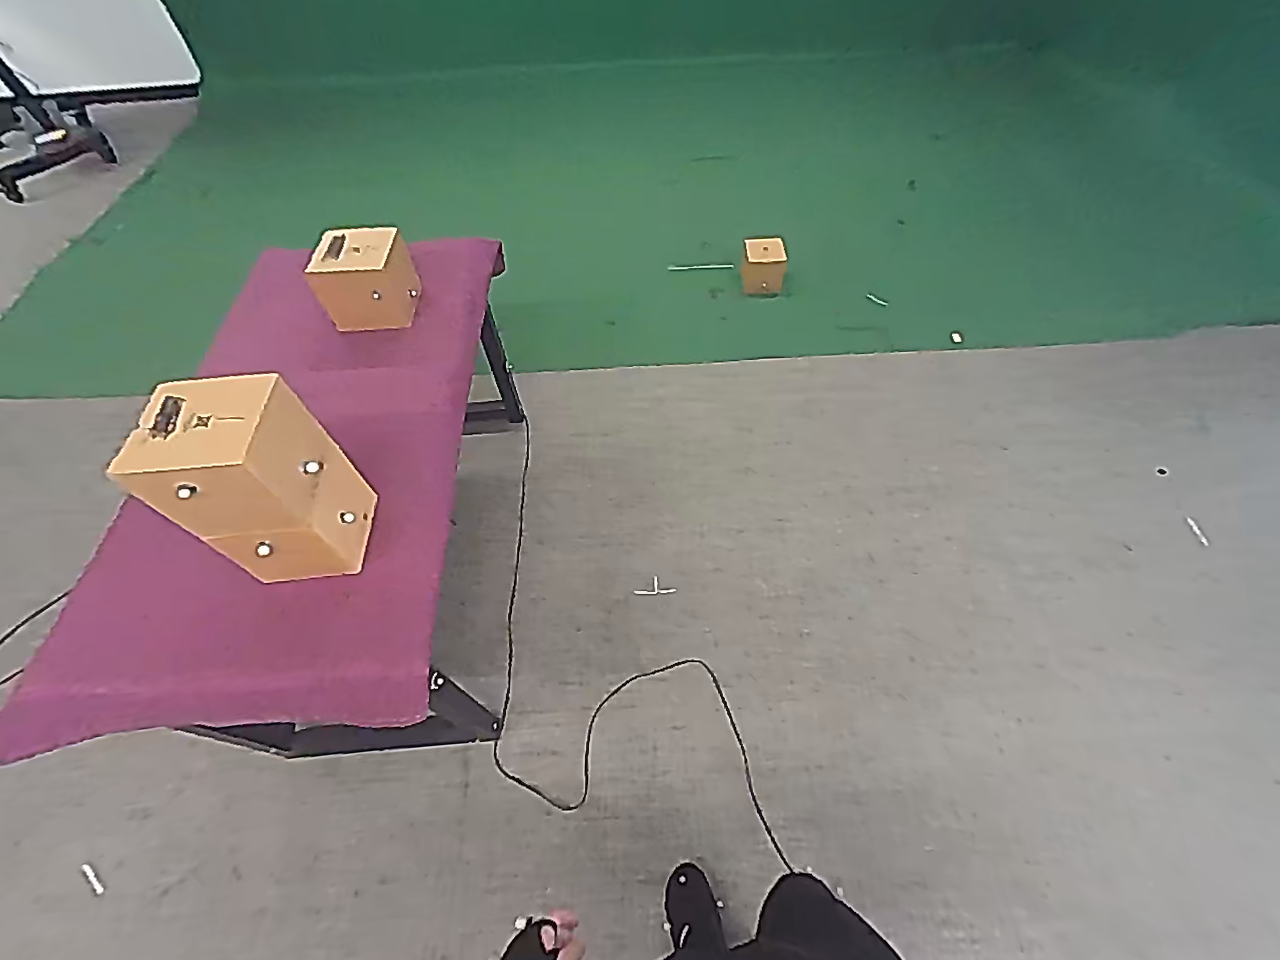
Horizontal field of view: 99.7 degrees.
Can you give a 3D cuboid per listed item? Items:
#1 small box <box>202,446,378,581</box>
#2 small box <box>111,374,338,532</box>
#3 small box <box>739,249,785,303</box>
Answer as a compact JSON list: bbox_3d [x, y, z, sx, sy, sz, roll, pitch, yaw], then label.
[{"bbox_3d":[-0.581,0.061,0.929,0.179,0.176,0.168,-5,55,-1],"label":"small box"},{"bbox_3d":[-0.588,-0.034,0.796,0.179,0.176,0.168,-4,55,-1],"label":"small box"},{"bbox_3d":[0.555,-0.936,2.482,0.168,0.176,0.179,-1,55,1],"label":"small box"}]
